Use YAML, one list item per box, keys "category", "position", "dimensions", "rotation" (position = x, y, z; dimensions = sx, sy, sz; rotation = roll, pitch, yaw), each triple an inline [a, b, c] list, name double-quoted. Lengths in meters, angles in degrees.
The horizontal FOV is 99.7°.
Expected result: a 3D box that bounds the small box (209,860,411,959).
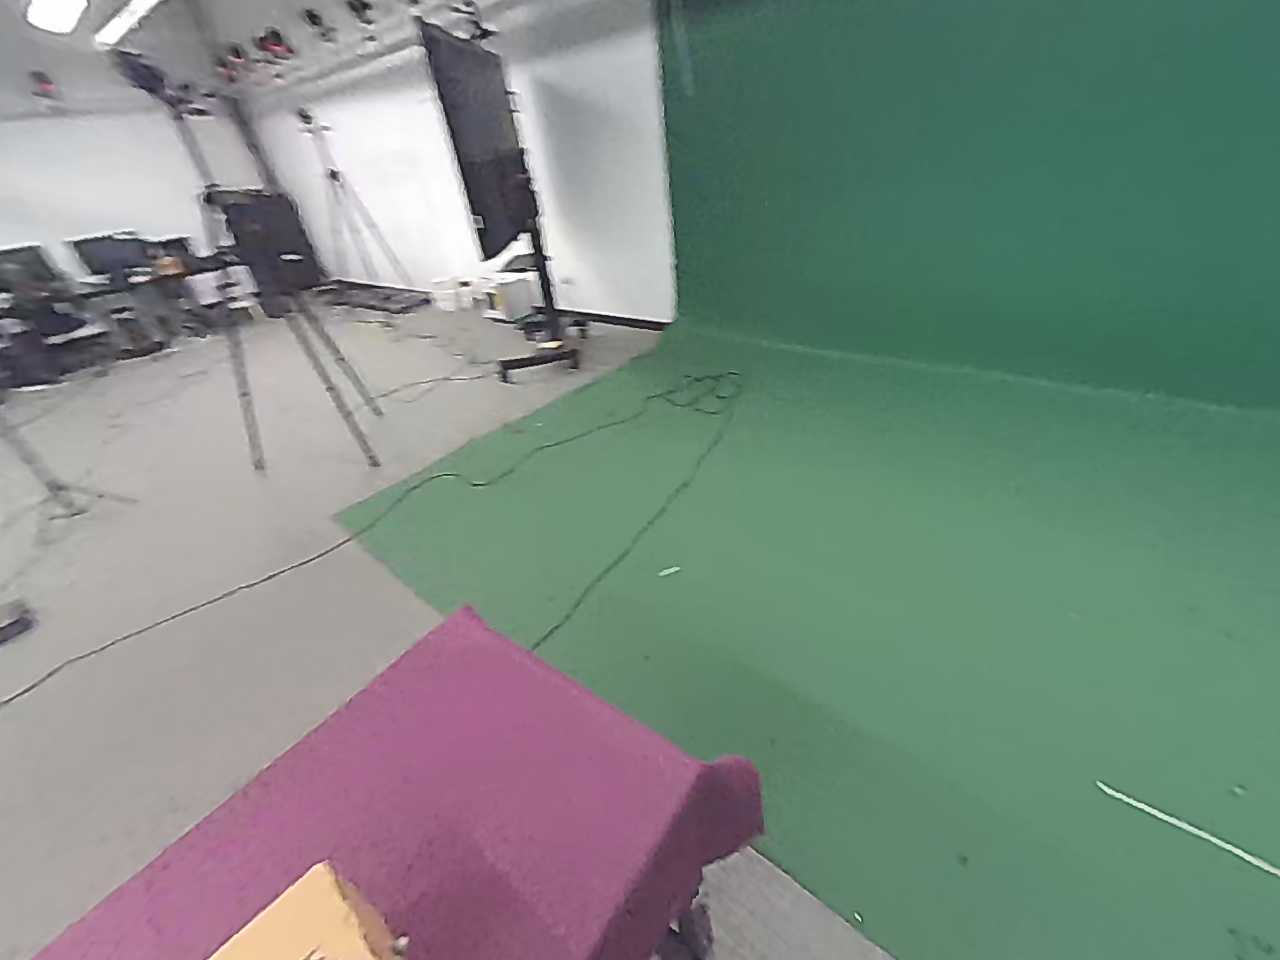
- category: "small box"
  position: [-0.344, 0.561, 0.560]
  dimensions: [0.168, 0.176, 0.179]
  rotation: [22, 44, 38]
